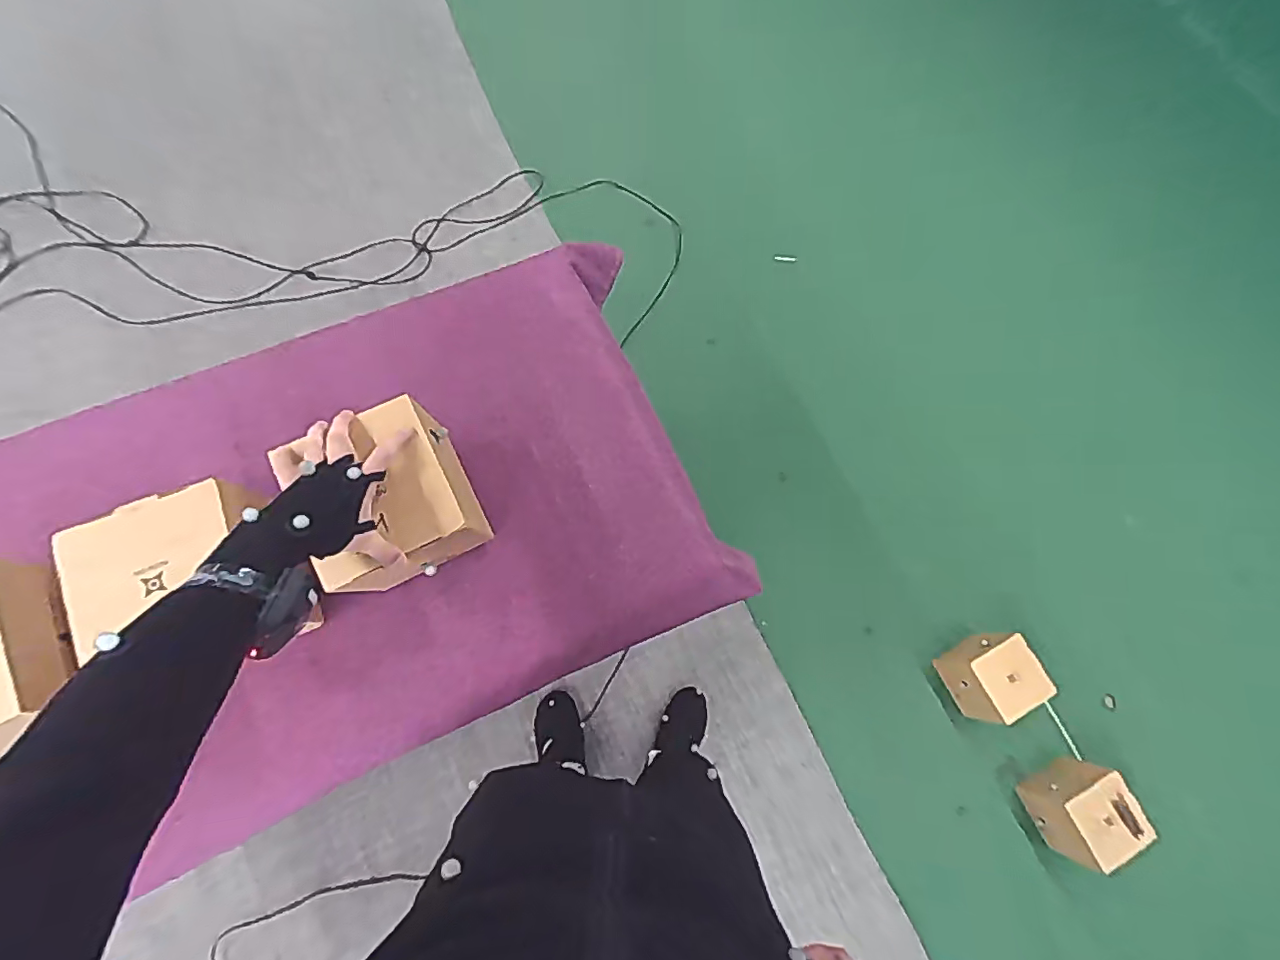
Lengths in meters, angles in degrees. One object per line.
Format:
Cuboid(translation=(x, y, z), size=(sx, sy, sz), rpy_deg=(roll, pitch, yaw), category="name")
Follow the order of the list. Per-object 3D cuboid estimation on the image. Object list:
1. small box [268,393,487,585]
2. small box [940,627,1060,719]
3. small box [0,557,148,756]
Cuboid(translation=(-0.316, 0.021, 0.685), size=(0.168, 0.176, 0.179), rpy_deg=(-26, 83, -8), category="small box")
Cuboid(translation=(0.940, 0.508, 1.438), size=(0.179, 0.176, 0.168), rpy_deg=(-25, 77, -12), category="small box")
Cuboid(translation=(-0.729, 0.210, 0.618), size=(0.168, 0.176, 0.179), rpy_deg=(-26, 79, -11), category="small box")
